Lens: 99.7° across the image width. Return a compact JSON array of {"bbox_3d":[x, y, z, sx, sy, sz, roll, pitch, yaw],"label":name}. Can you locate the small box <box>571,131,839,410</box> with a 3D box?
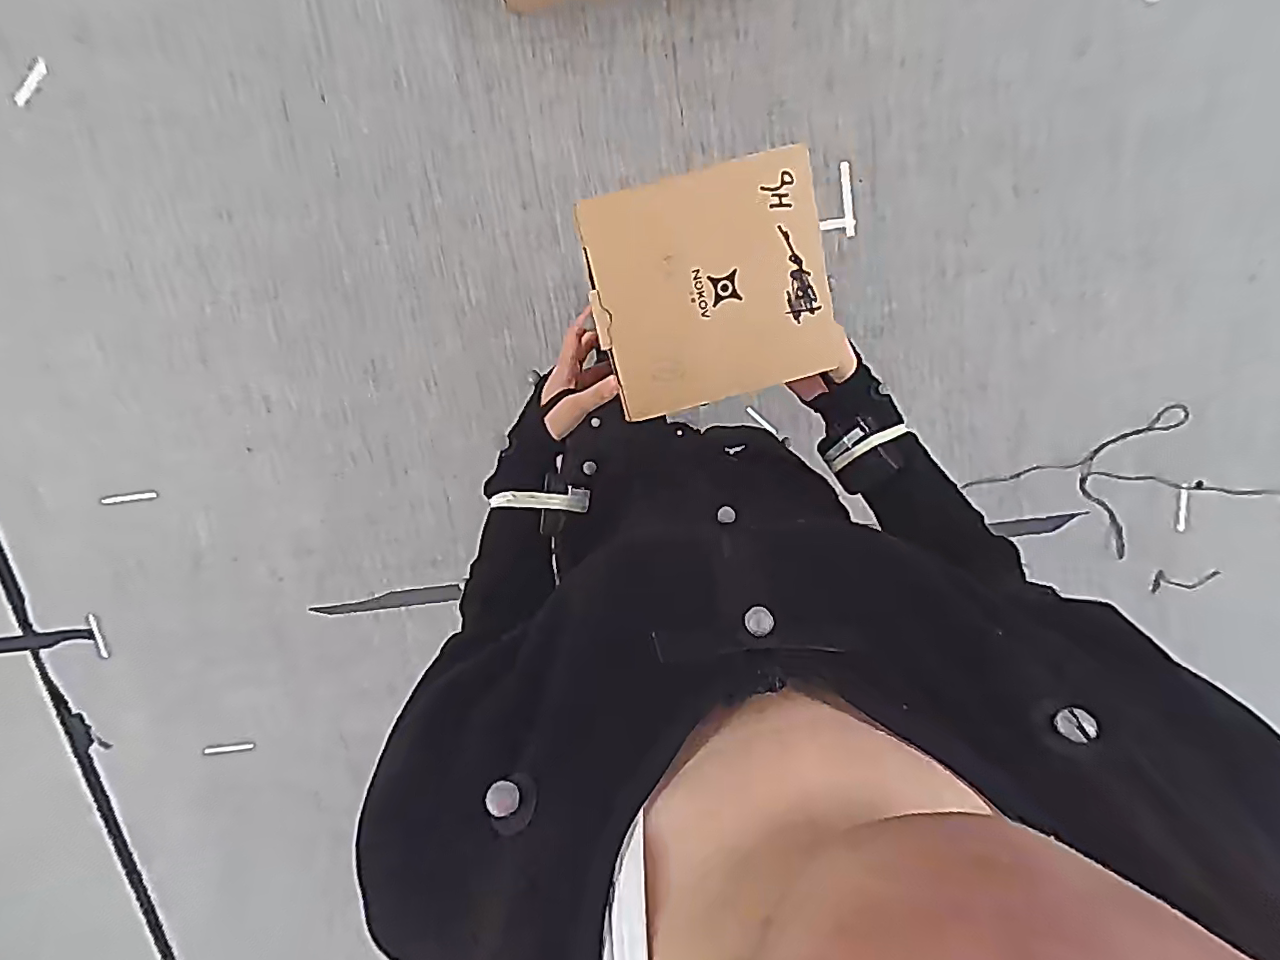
[{"bbox_3d":[0.050,-0.170,0.479,0.179,0.176,0.168,-15,106,1],"label":"small box"}]
